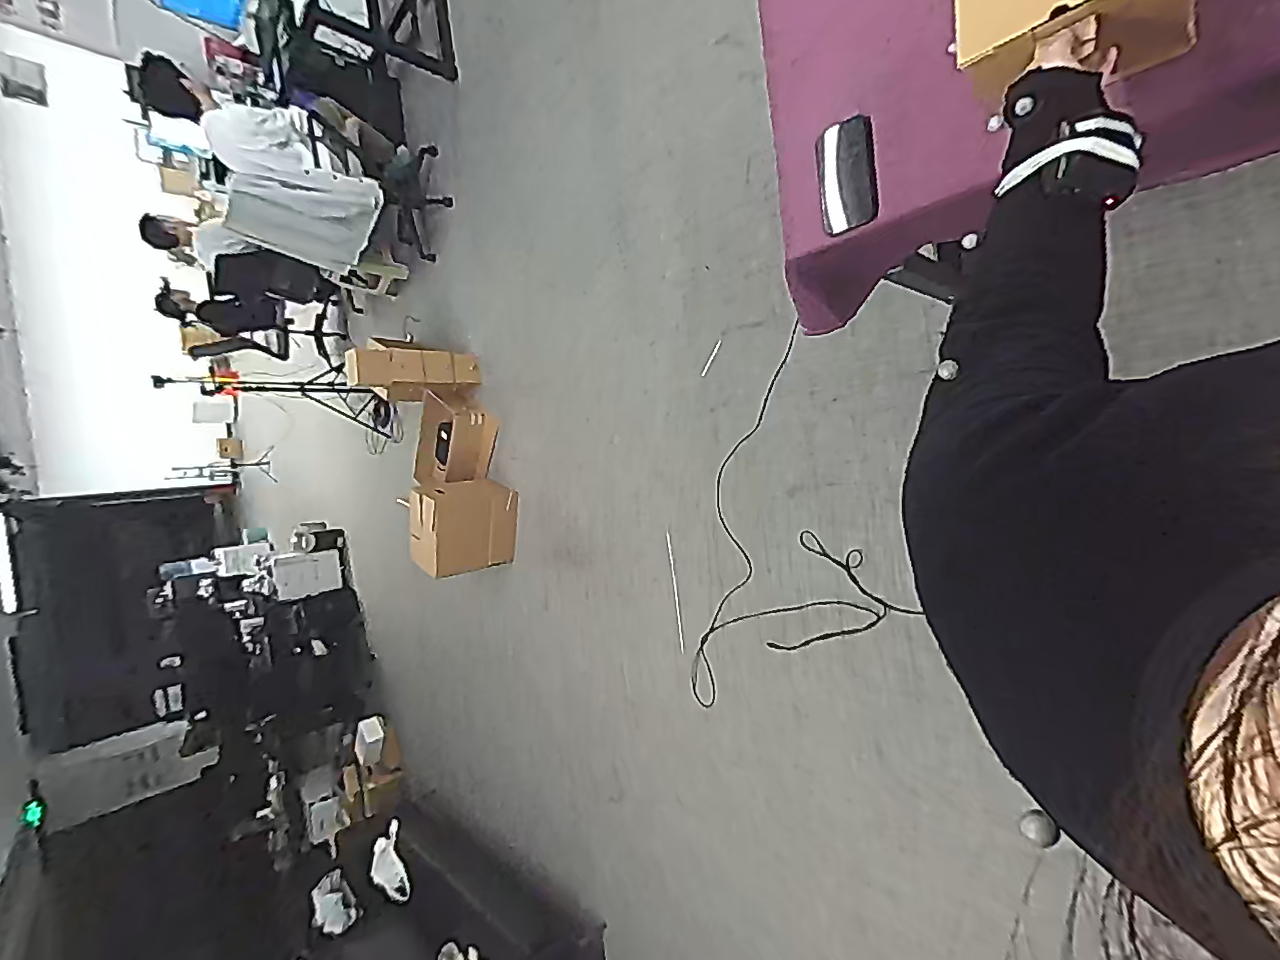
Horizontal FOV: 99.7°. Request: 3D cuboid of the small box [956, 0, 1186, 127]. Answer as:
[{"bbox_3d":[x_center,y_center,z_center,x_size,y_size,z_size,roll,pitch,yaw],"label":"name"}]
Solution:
[{"bbox_3d":[0.431,-0.505,0.543,0.168,0.176,0.179,-1,95,45],"label":"small box"}]
